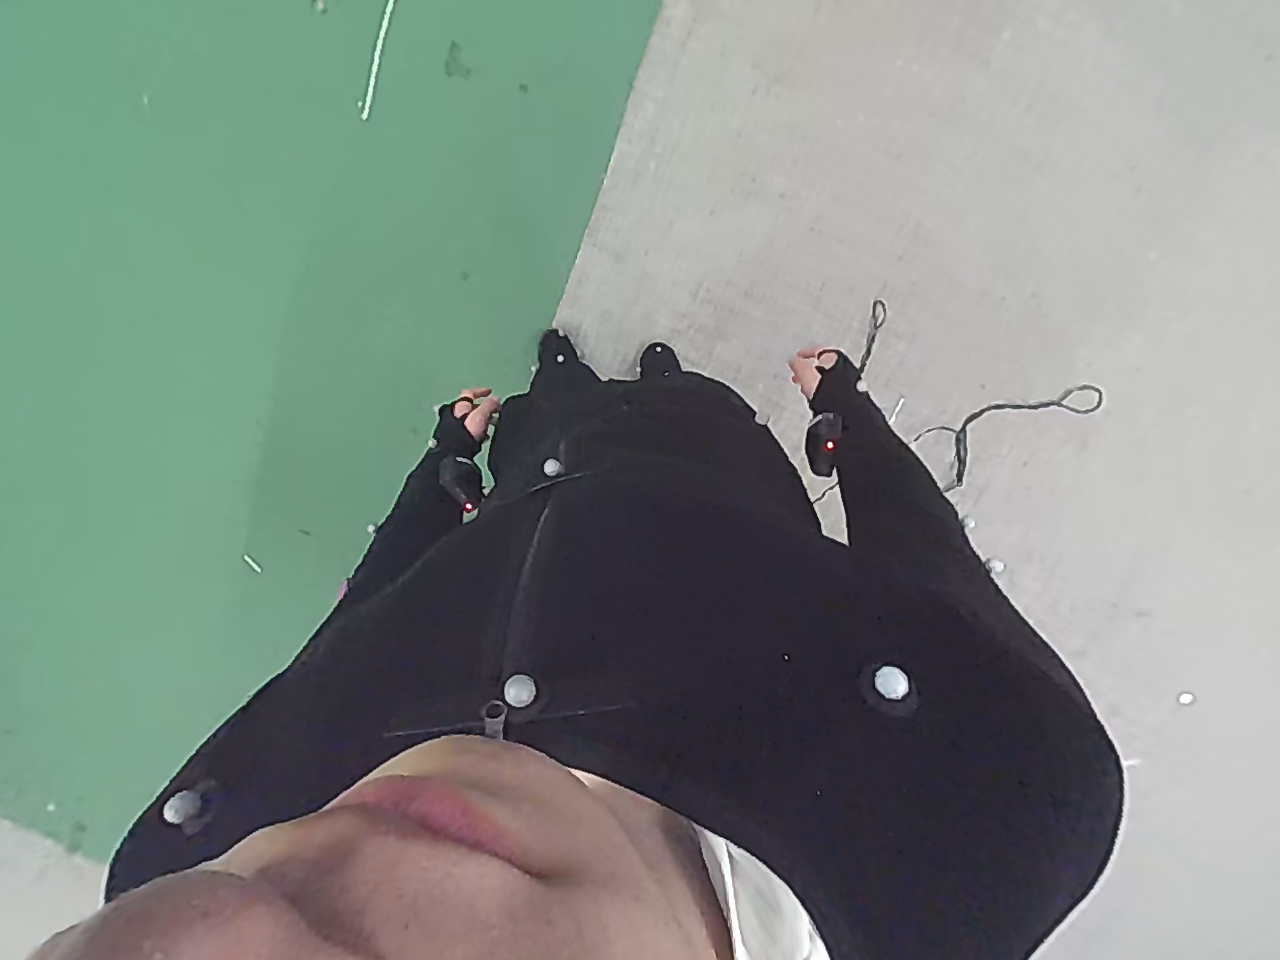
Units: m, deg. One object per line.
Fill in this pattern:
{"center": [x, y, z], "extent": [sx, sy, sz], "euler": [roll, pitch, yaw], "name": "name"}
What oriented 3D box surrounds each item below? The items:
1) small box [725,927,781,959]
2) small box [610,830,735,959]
{"center": [0.254, 1.053, 1.082], "extent": [0.179, 0.176, 0.168], "euler": [23, 107, 0], "name": "small box"}
{"center": [0.064, 0.815, 1.031], "extent": [0.179, 0.176, 0.168], "euler": [24, 108, -1], "name": "small box"}
